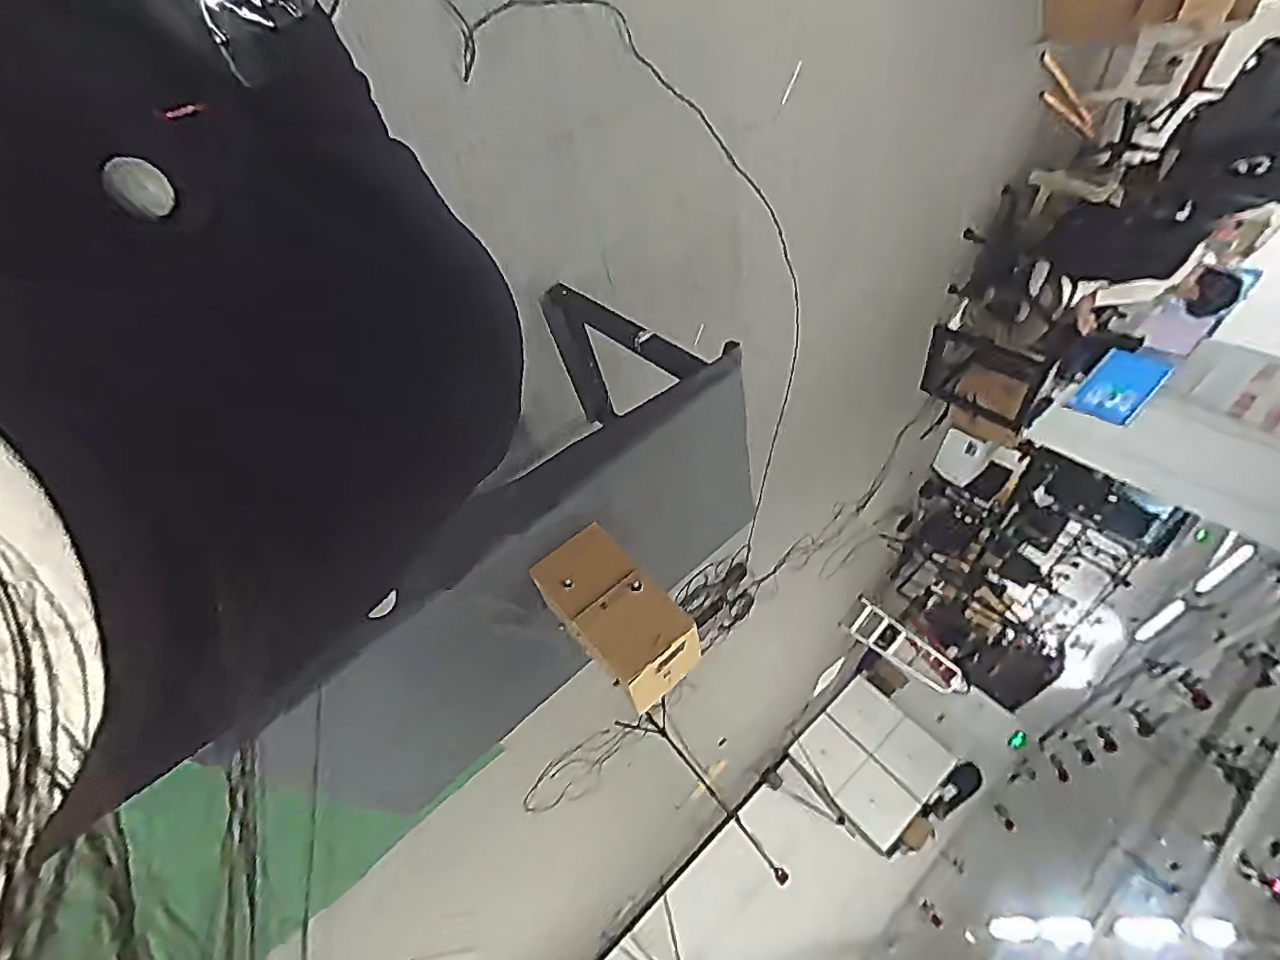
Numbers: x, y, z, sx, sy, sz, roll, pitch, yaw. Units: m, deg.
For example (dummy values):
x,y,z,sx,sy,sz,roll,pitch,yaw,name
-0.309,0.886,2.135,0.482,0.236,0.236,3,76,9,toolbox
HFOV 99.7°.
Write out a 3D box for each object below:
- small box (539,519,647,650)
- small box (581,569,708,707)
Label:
x,y,z,sx,sy,sz,roll,pitch,yaw,name
-0.095,0.218,1.151,0.179,0.176,0.168,-38,144,-19,small box
0.008,0.300,1.053,0.168,0.176,0.179,-38,142,-16,small box
